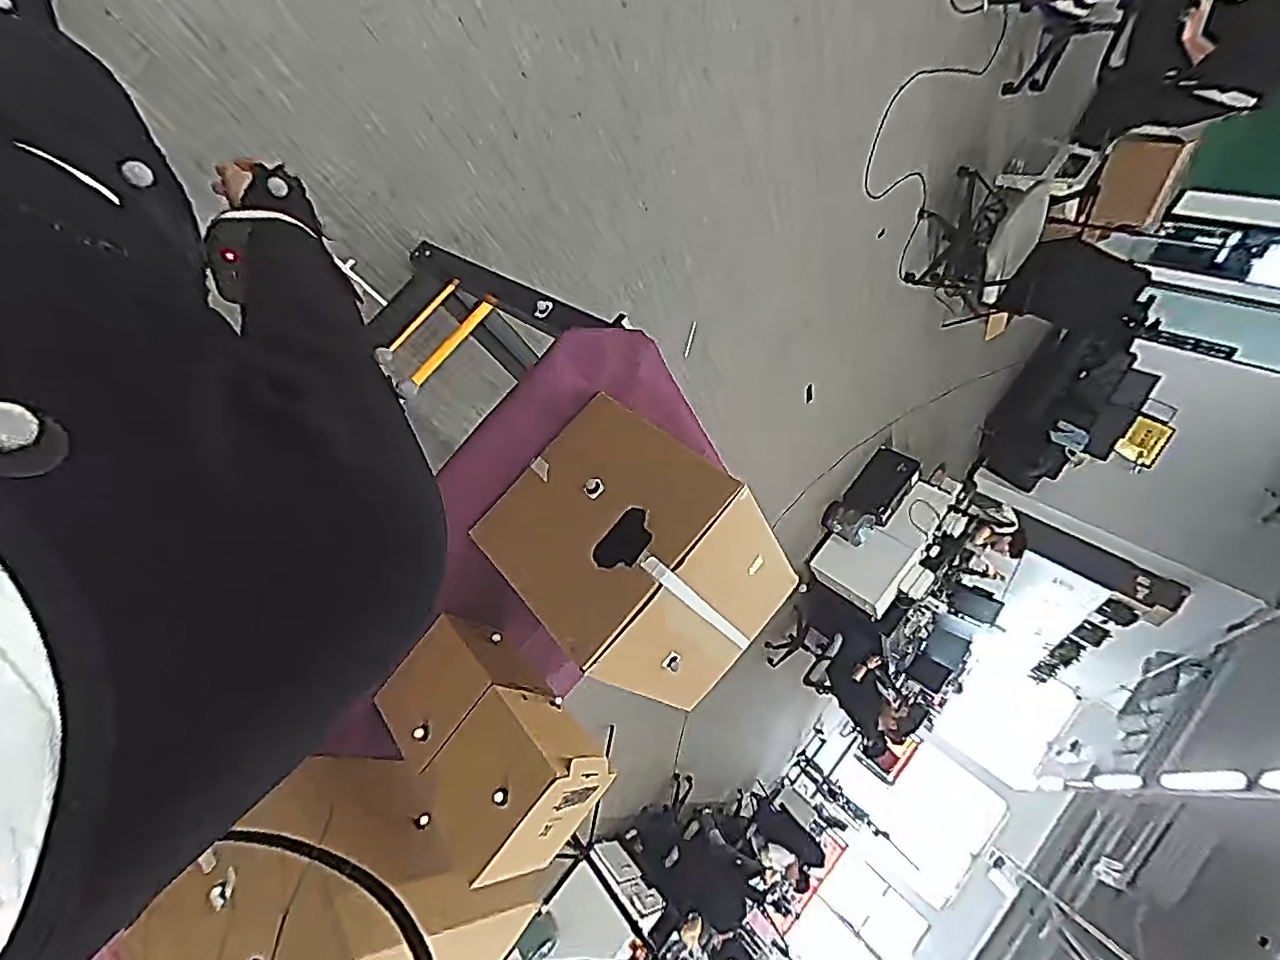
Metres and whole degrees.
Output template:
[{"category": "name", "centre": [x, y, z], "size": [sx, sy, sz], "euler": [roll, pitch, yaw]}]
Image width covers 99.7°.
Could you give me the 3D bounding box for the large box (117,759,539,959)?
[{"category": "large box", "centre": [-0.443, 0.667, 0.825], "size": [0.320, 0.320, 0.408], "euler": [-50, 145, -7]}]
